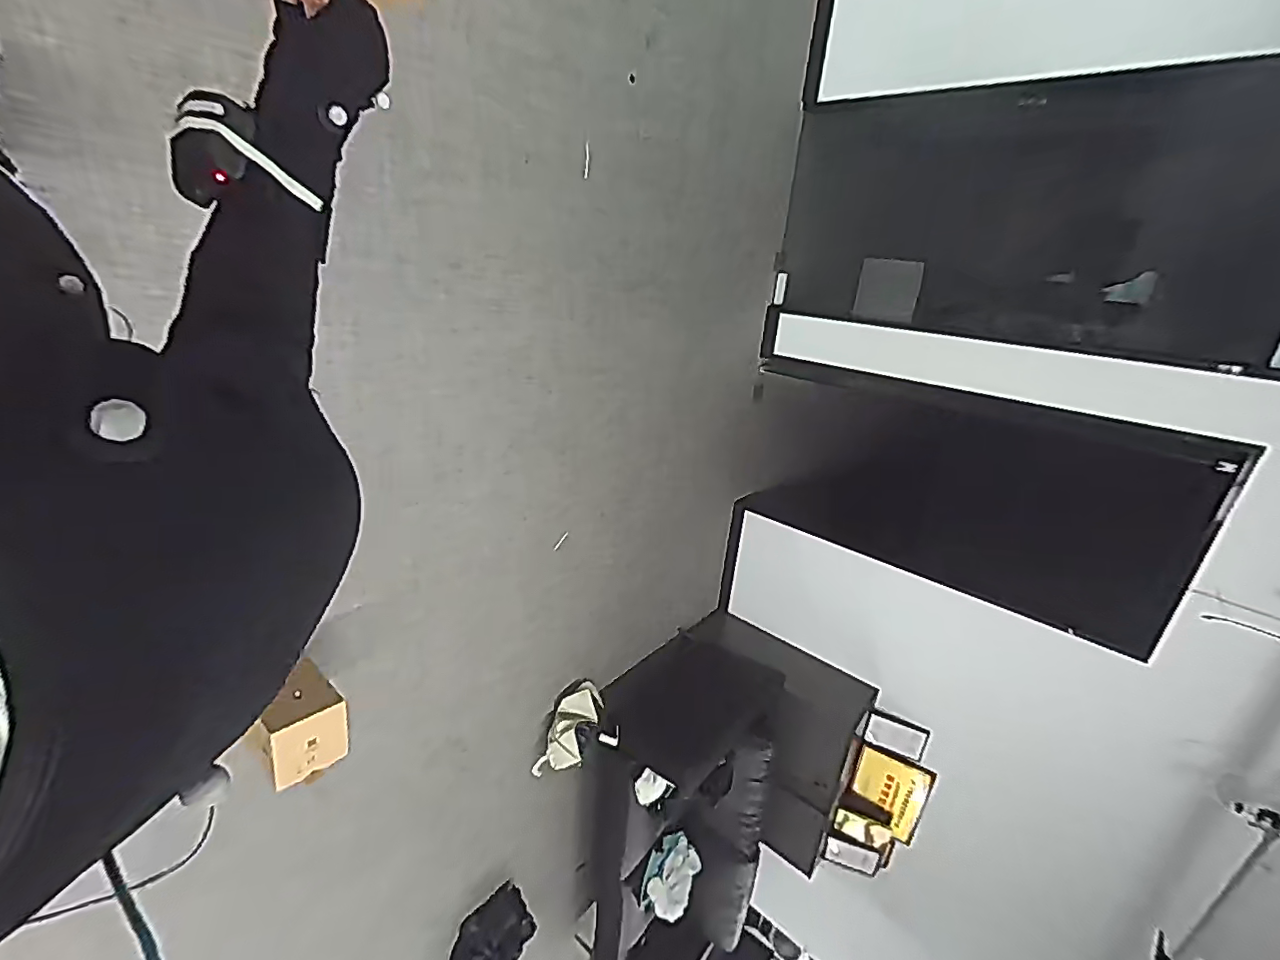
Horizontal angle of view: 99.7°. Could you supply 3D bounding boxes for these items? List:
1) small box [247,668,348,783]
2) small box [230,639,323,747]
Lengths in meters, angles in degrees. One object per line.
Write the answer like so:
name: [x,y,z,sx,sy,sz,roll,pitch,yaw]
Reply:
small box: [-0.860,0.602,1.358,0.168,0.176,0.179,-15,121,-50]
small box: [-0.971,0.560,1.446,0.168,0.176,0.179,-12,118,-50]
